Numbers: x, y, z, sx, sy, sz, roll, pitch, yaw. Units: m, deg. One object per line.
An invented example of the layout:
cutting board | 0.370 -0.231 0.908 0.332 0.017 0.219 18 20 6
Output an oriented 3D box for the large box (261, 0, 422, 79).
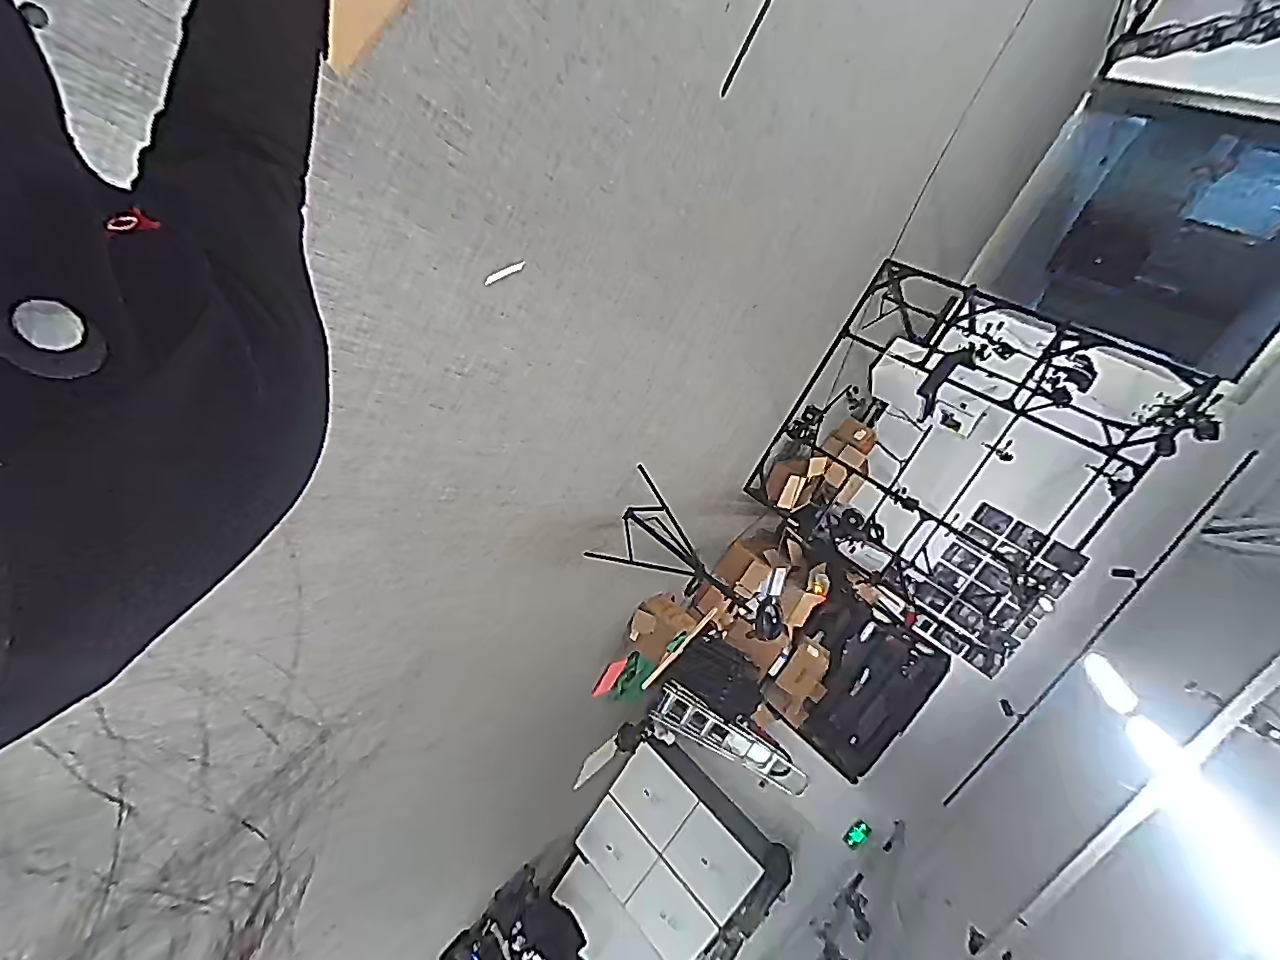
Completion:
large box | -0.351 -0.652 0.410 0.320 0.408 0.320 -46 -168 6
